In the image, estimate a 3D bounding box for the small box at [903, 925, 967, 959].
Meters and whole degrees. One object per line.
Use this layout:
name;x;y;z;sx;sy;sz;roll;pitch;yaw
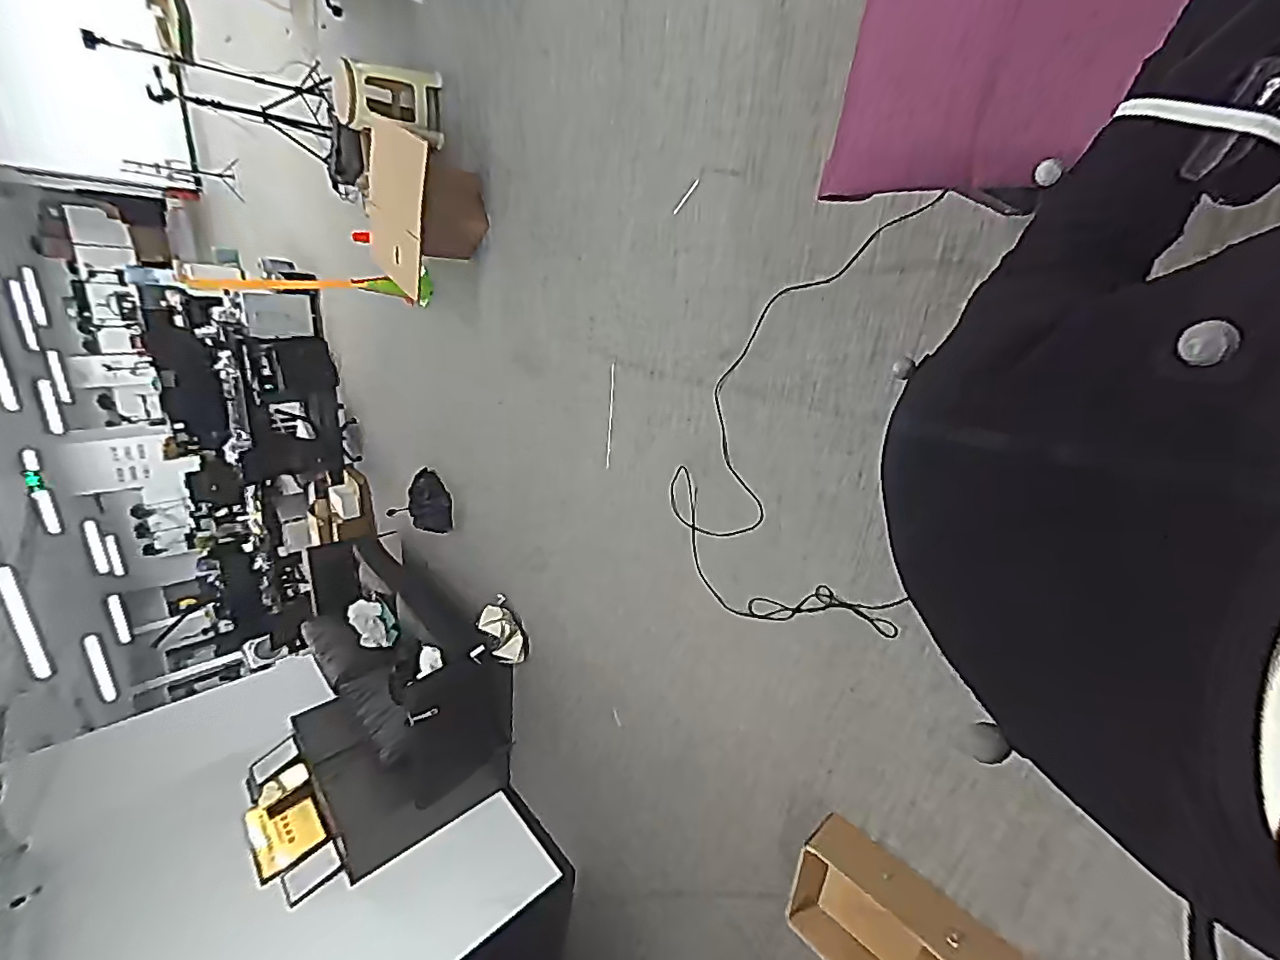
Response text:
small box;0.860;1.480;1.587;0.168;0.176;0.179;26;120;41
